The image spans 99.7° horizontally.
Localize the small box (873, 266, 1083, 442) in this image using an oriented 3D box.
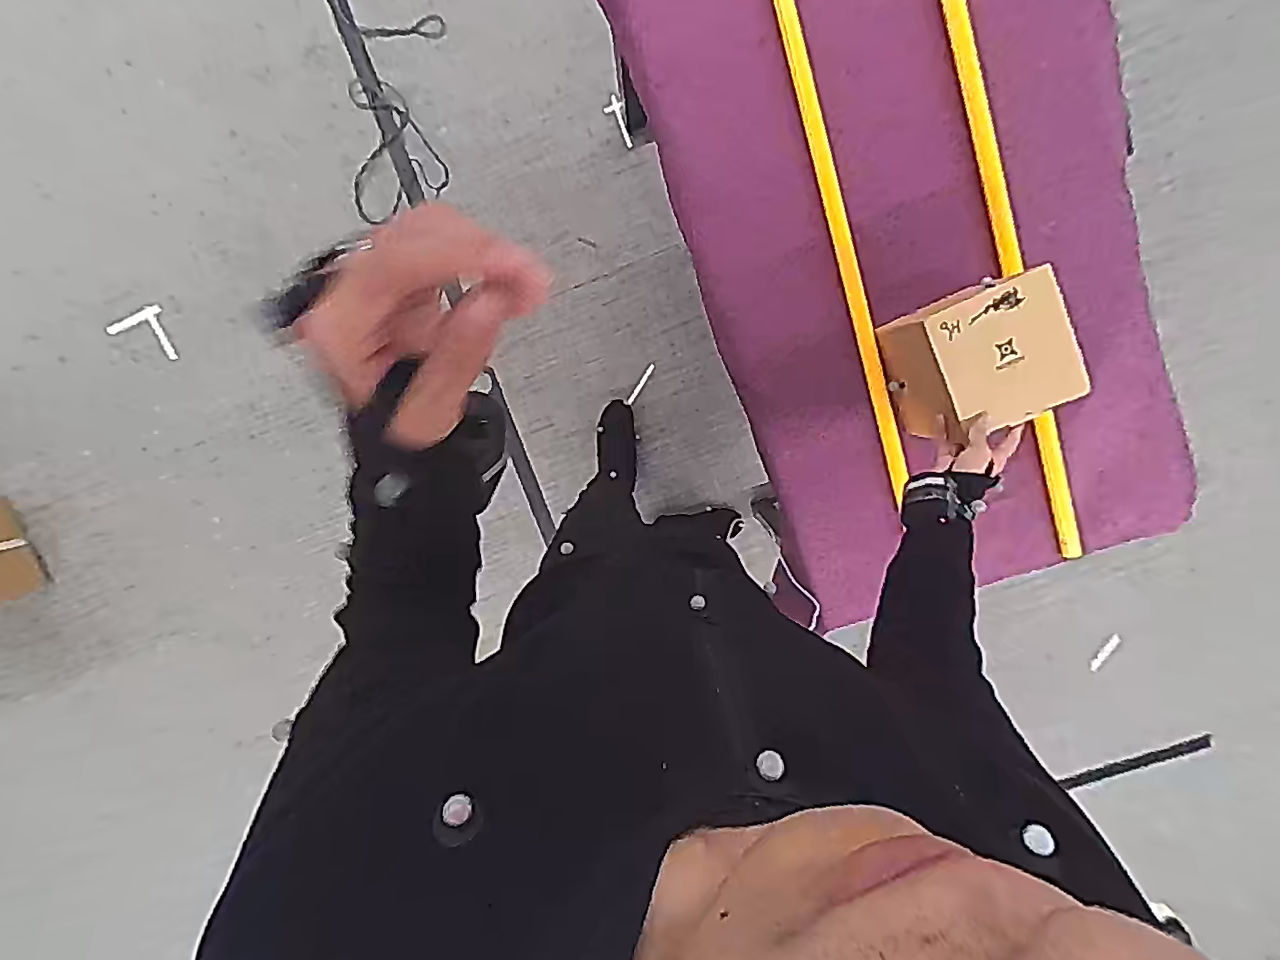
[{"bbox_3d":[0.460,-0.172,0.762,0.168,0.176,0.179,-23,100,5],"label":"small box"}]
